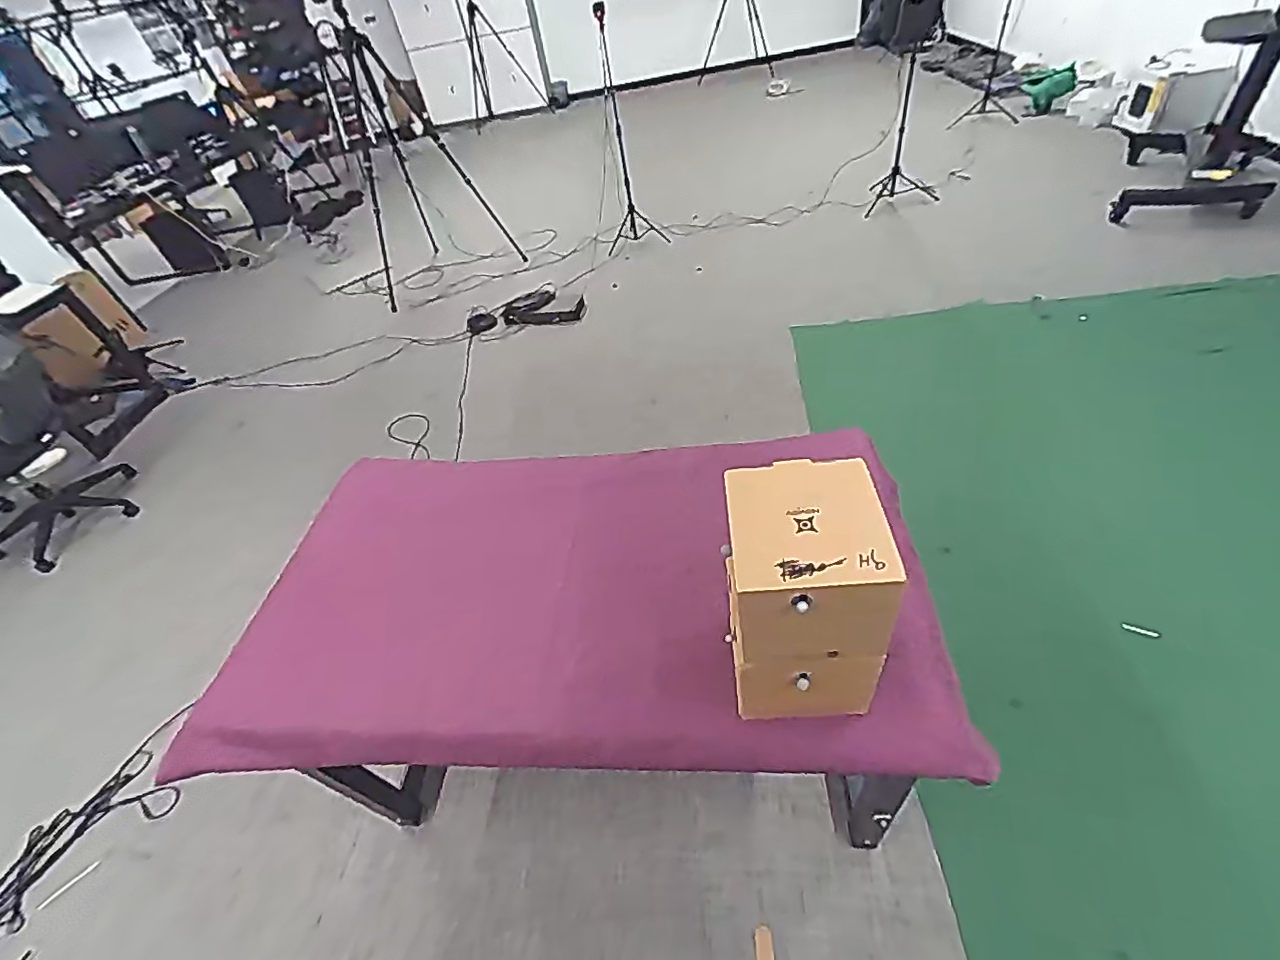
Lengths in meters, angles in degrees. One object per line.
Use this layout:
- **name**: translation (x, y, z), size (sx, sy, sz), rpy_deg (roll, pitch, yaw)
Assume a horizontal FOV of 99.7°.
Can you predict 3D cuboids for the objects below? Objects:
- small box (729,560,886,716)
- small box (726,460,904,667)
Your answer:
- **small box**: translation (0.224, 0.217, 0.760), size (0.179, 0.176, 0.168), rpy_deg (-7, 45, 9)
- **small box**: translation (0.195, 0.102, 0.647), size (0.168, 0.176, 0.179), rpy_deg (-7, 45, 10)
